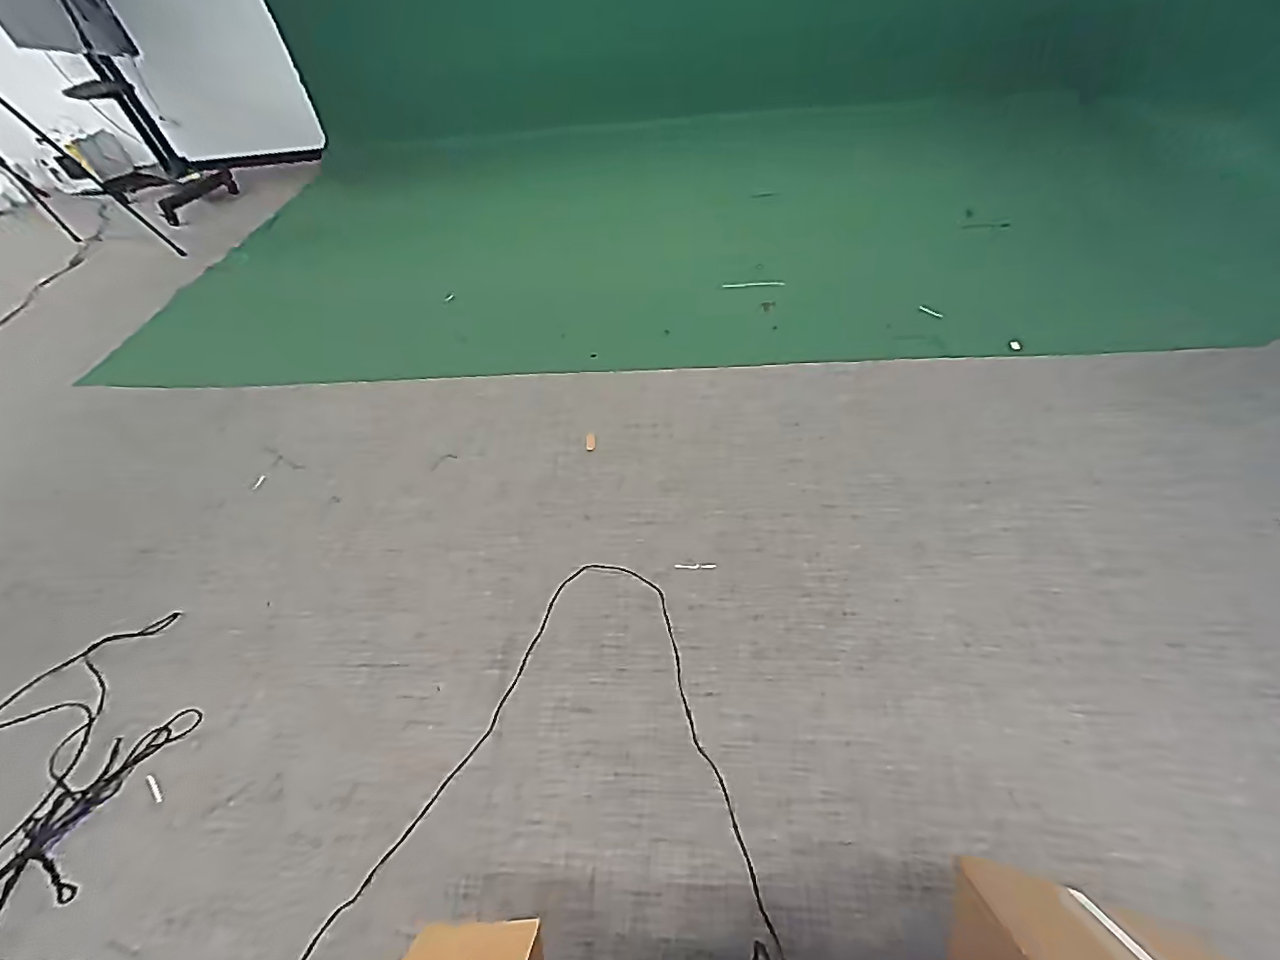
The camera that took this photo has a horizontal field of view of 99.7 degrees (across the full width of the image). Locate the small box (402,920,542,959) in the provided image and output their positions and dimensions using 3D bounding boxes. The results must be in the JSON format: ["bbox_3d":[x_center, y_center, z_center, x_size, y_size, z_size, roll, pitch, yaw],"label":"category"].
[{"bbox_3d":[-0.213,0.673,0.638,0.168,0.179,0.176,-6,84,2],"label":"small box"}]
